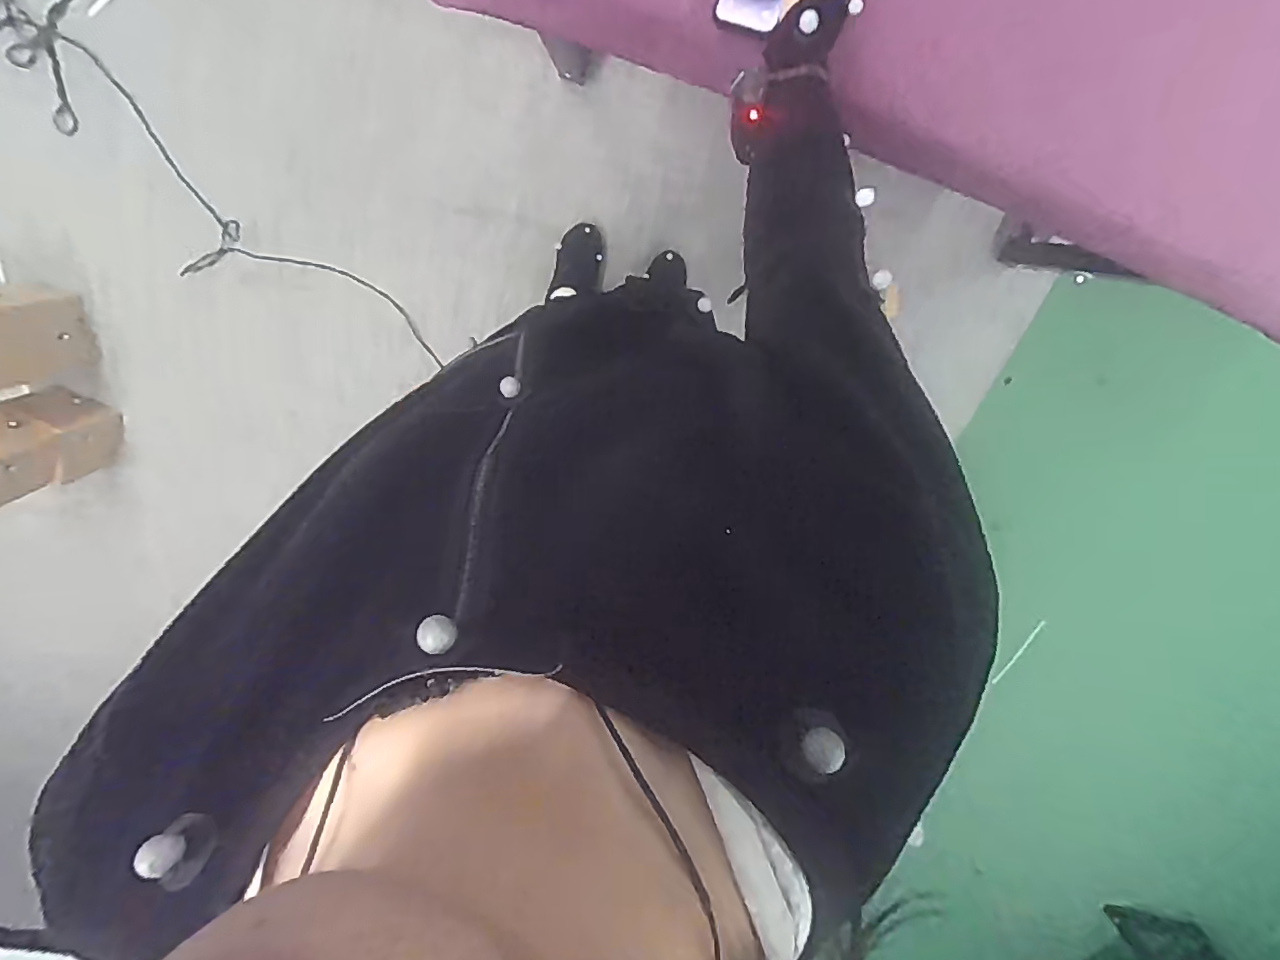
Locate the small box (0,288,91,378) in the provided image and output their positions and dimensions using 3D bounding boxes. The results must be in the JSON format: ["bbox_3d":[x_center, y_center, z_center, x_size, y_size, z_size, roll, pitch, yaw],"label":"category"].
[{"bbox_3d":[-1.491,-0.359,1.306,0.179,0.176,0.168,9,115,-5],"label":"small box"}]

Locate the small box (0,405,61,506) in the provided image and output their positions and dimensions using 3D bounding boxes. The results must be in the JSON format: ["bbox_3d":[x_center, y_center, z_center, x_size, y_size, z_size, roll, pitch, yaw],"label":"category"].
[{"bbox_3d":[-1.541,-0.051,1.275,0.168,0.176,0.179,32,110,-14],"label":"small box"}]
